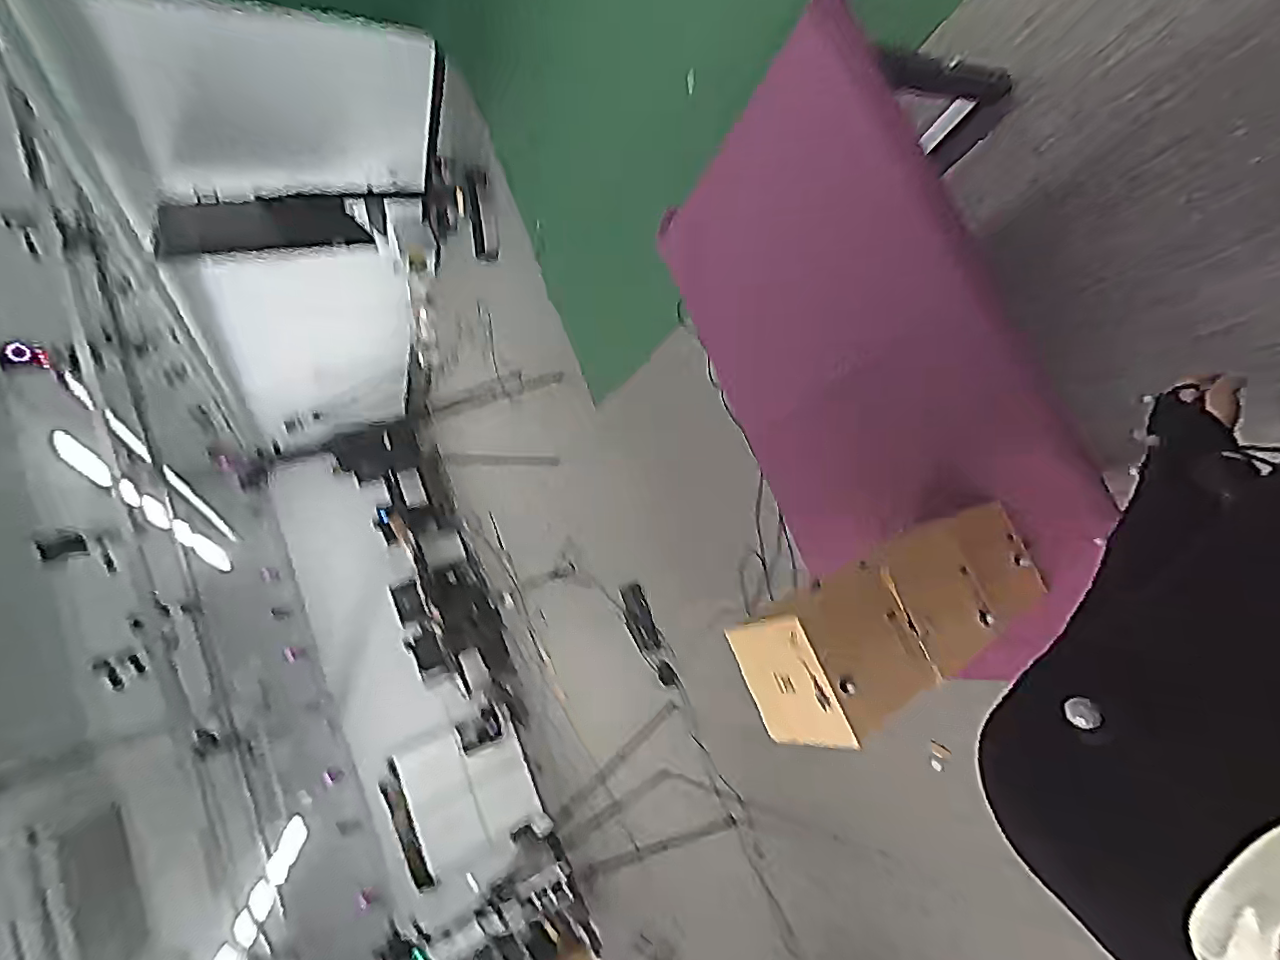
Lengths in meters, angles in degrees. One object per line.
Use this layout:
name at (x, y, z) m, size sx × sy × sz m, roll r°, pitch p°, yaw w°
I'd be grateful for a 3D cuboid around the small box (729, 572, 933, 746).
small box at (0.263, 0.247, 0.761) m, size 0.168 × 0.176 × 0.179 m, roll 65°, pitch 151°, yaw 10°

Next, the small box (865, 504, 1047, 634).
small box at (0.534, 0.159, 0.921) m, size 0.179 × 0.176 × 0.168 m, roll -41°, pitch 71°, yaw 58°

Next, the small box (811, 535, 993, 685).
small box at (0.402, 0.200, 0.834) m, size 0.168 × 0.176 × 0.179 m, roll 66°, pitch 151°, yaw 10°
